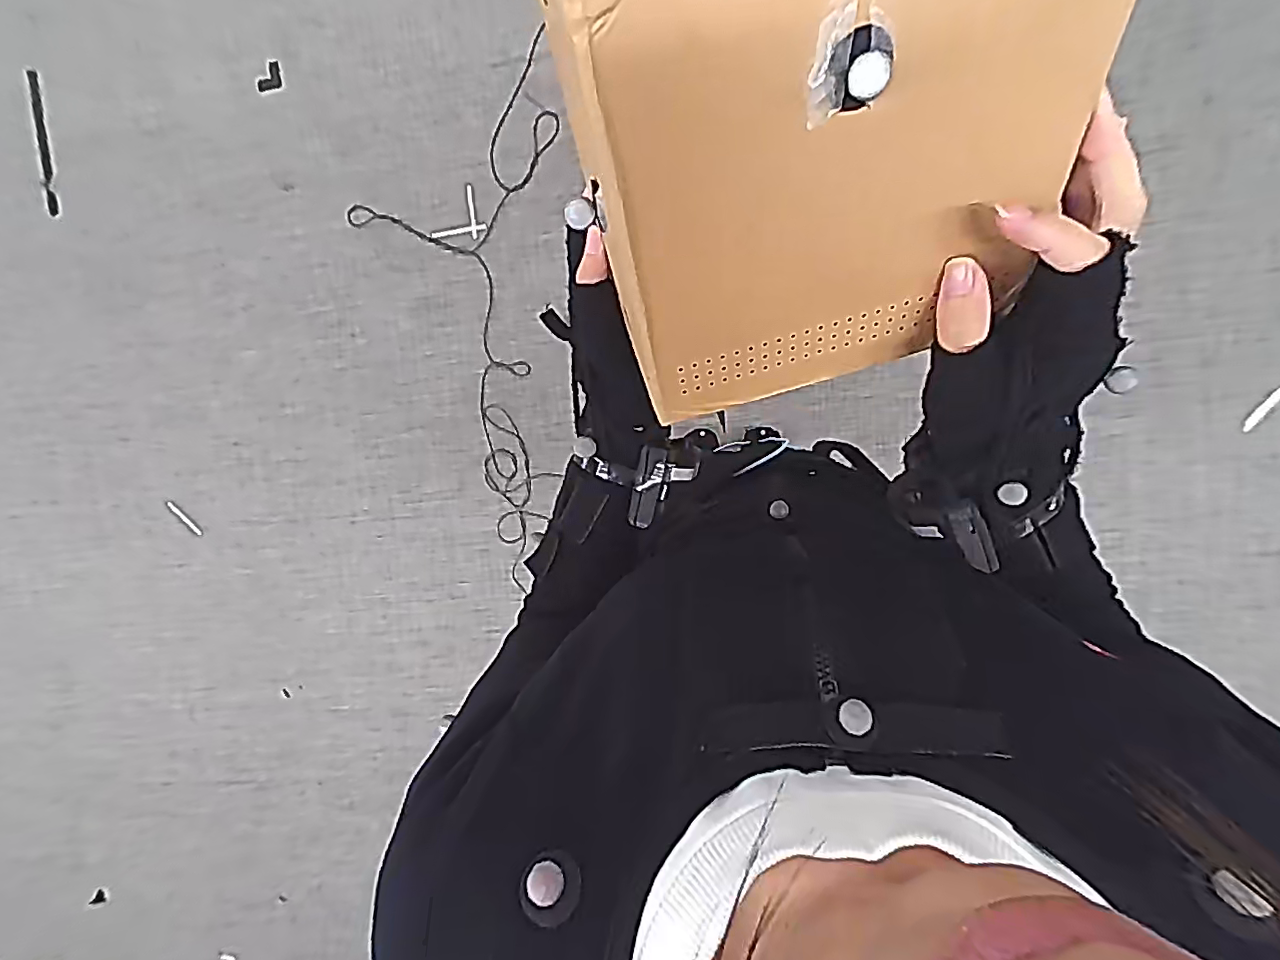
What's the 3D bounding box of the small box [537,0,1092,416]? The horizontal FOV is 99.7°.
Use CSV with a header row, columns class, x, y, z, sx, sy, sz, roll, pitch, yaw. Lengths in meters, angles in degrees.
class,x,y,z,sx,sy,sz,roll,pitch,yaw
small box,0.064,-0.155,0.256,0.179,0.168,0.176,-16,139,1
